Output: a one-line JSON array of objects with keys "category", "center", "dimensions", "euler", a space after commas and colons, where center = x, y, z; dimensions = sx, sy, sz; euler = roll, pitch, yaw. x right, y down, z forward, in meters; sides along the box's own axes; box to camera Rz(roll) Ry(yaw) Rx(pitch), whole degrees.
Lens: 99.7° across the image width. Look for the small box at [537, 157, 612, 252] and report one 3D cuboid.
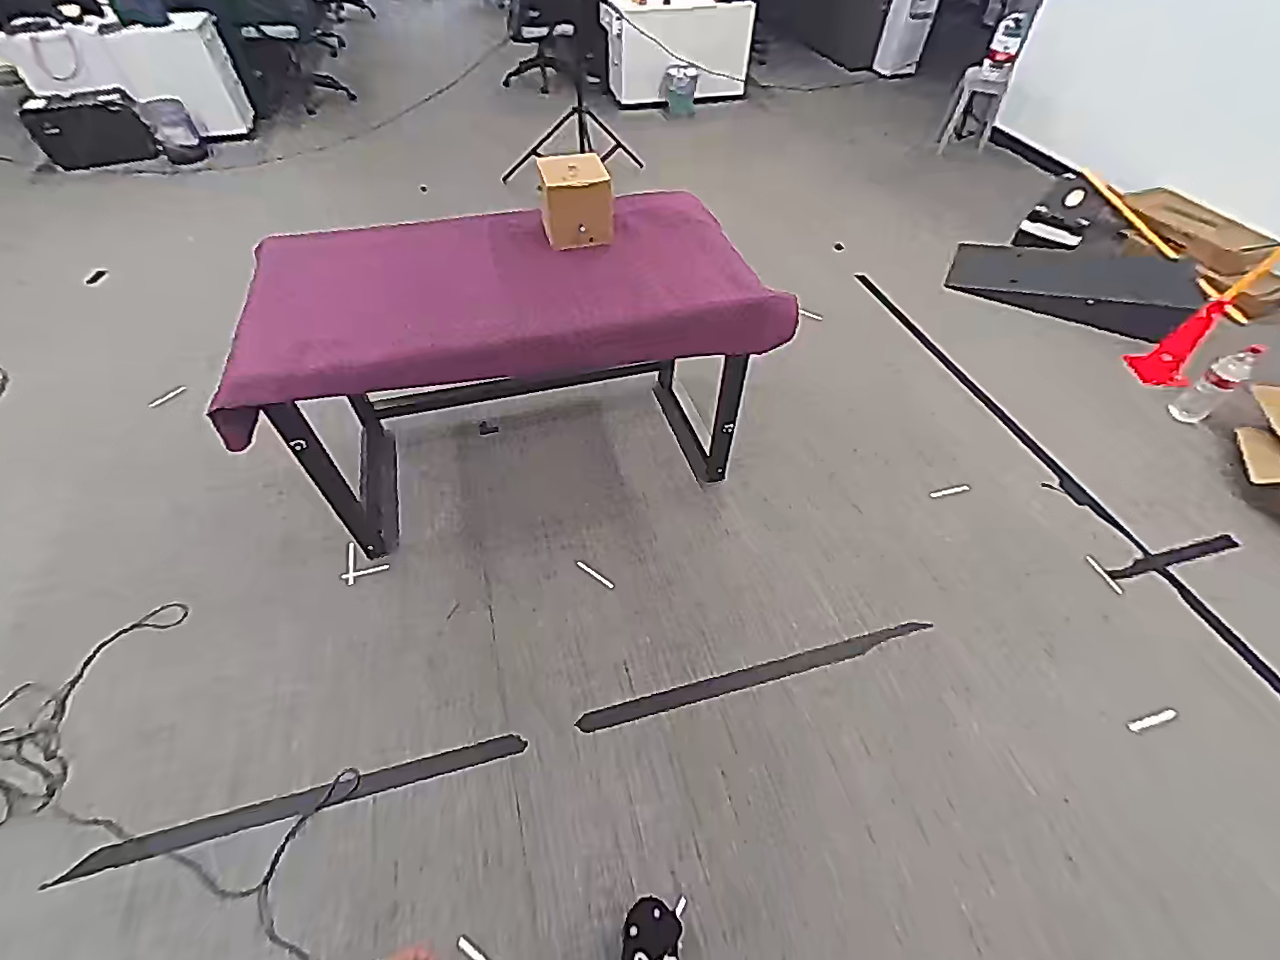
[{"category": "small box", "center": [-0.174, -0.737, 1.451], "dimensions": [0.168, 0.176, 0.179], "euler": [-12, 54, -10]}]
